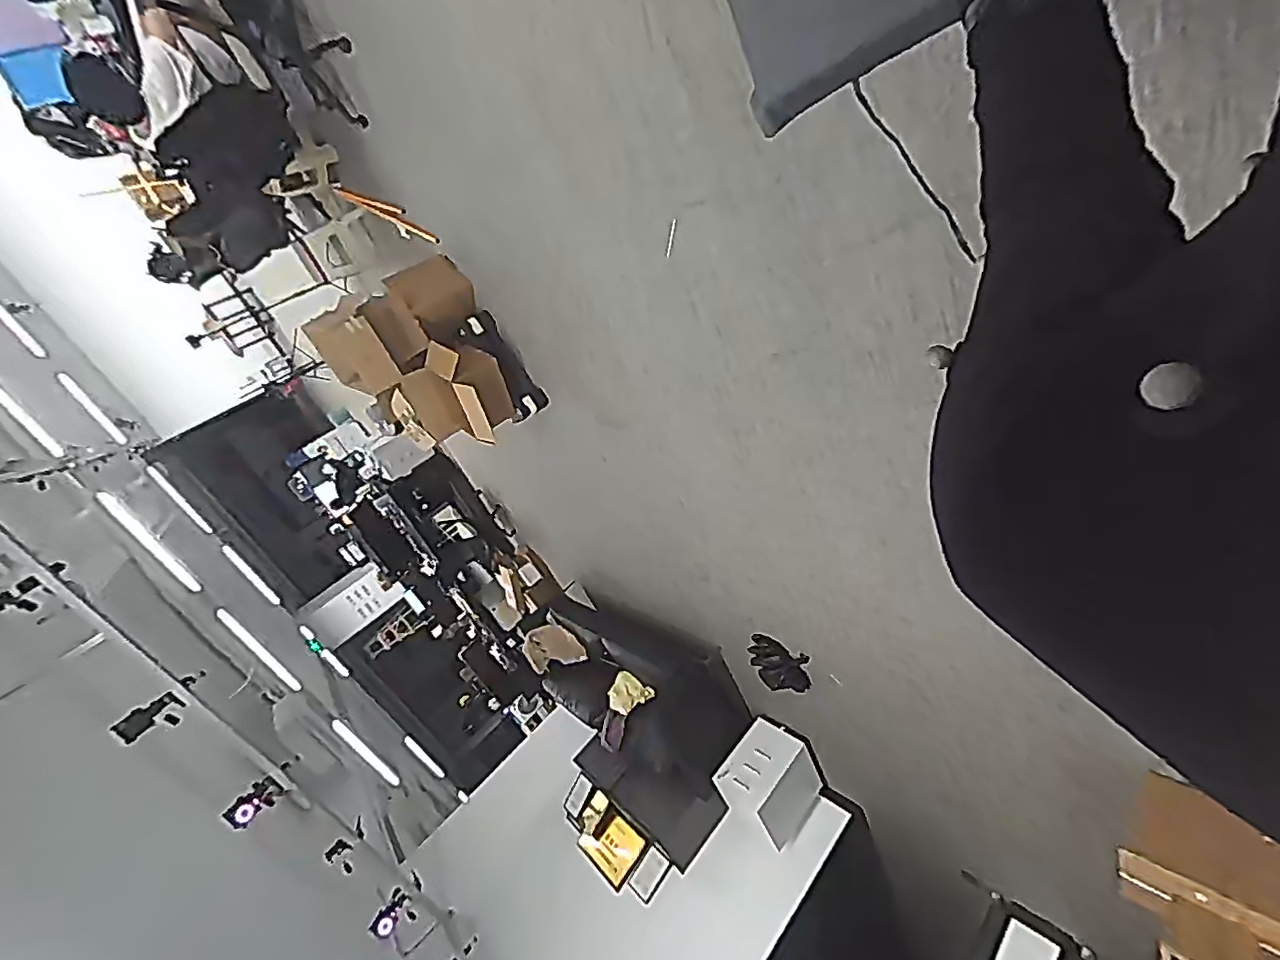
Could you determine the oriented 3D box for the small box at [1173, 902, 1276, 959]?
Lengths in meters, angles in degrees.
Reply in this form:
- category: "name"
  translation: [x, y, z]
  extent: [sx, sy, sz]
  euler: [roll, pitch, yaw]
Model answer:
- category: "small box"
  translation: [1.668, 1.362, 1.545]
  extent: [0.179, 0.176, 0.168]
  euler: [7, 125, 55]
